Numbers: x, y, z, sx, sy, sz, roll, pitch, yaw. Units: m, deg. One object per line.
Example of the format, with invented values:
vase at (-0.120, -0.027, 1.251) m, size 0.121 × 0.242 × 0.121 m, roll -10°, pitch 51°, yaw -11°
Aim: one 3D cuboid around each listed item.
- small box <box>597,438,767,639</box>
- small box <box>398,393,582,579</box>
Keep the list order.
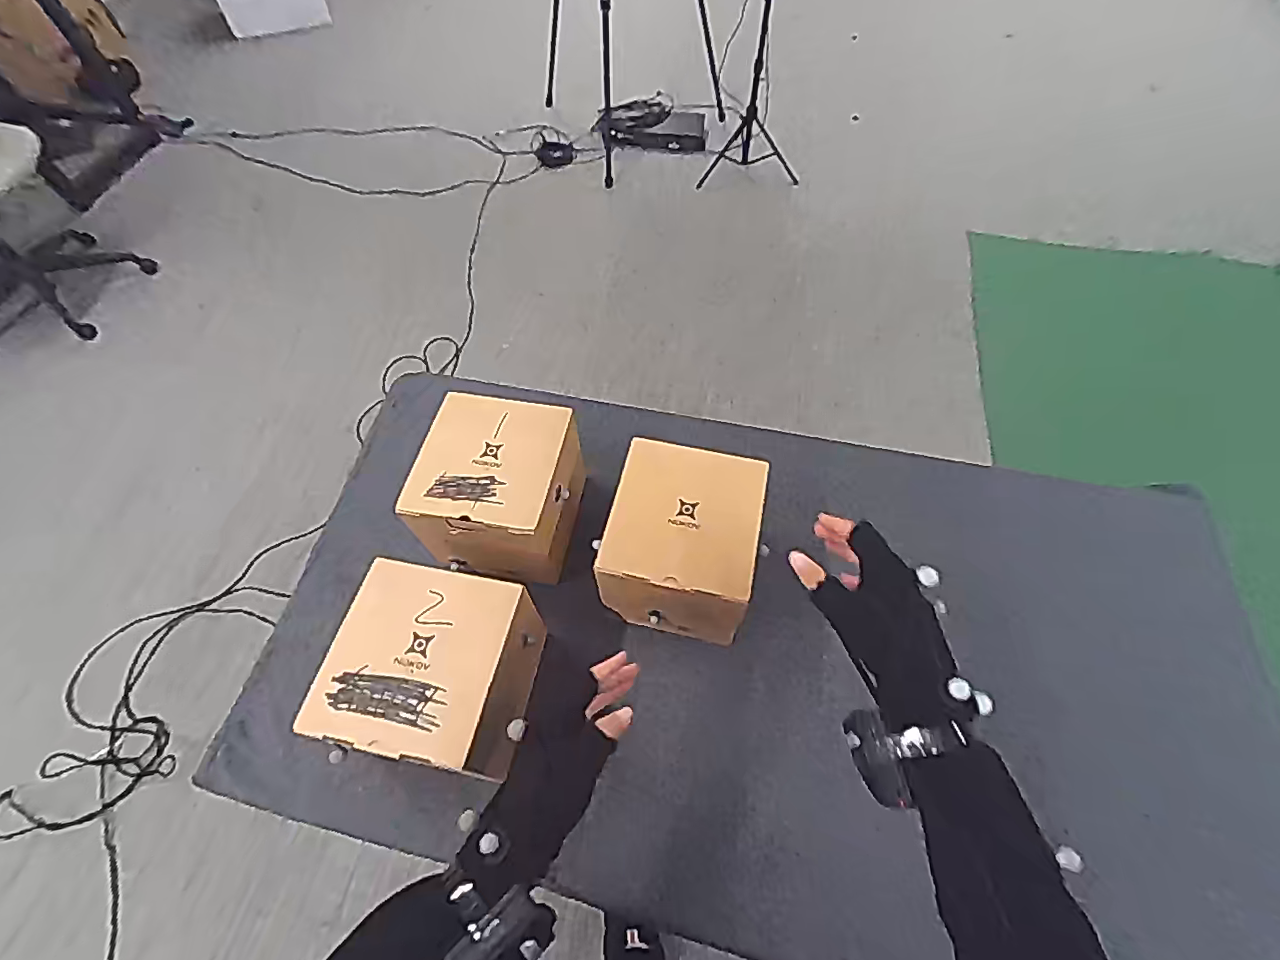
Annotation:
small box at (0.051, 0.077, 0.671) m, size 0.168 × 0.176 × 0.179 m, roll 11°, pitch 61°, yaw 7°
small box at (-0.178, 0.014, 0.708) m, size 0.168 × 0.176 × 0.179 m, roll 9°, pitch 60°, yaw 5°
